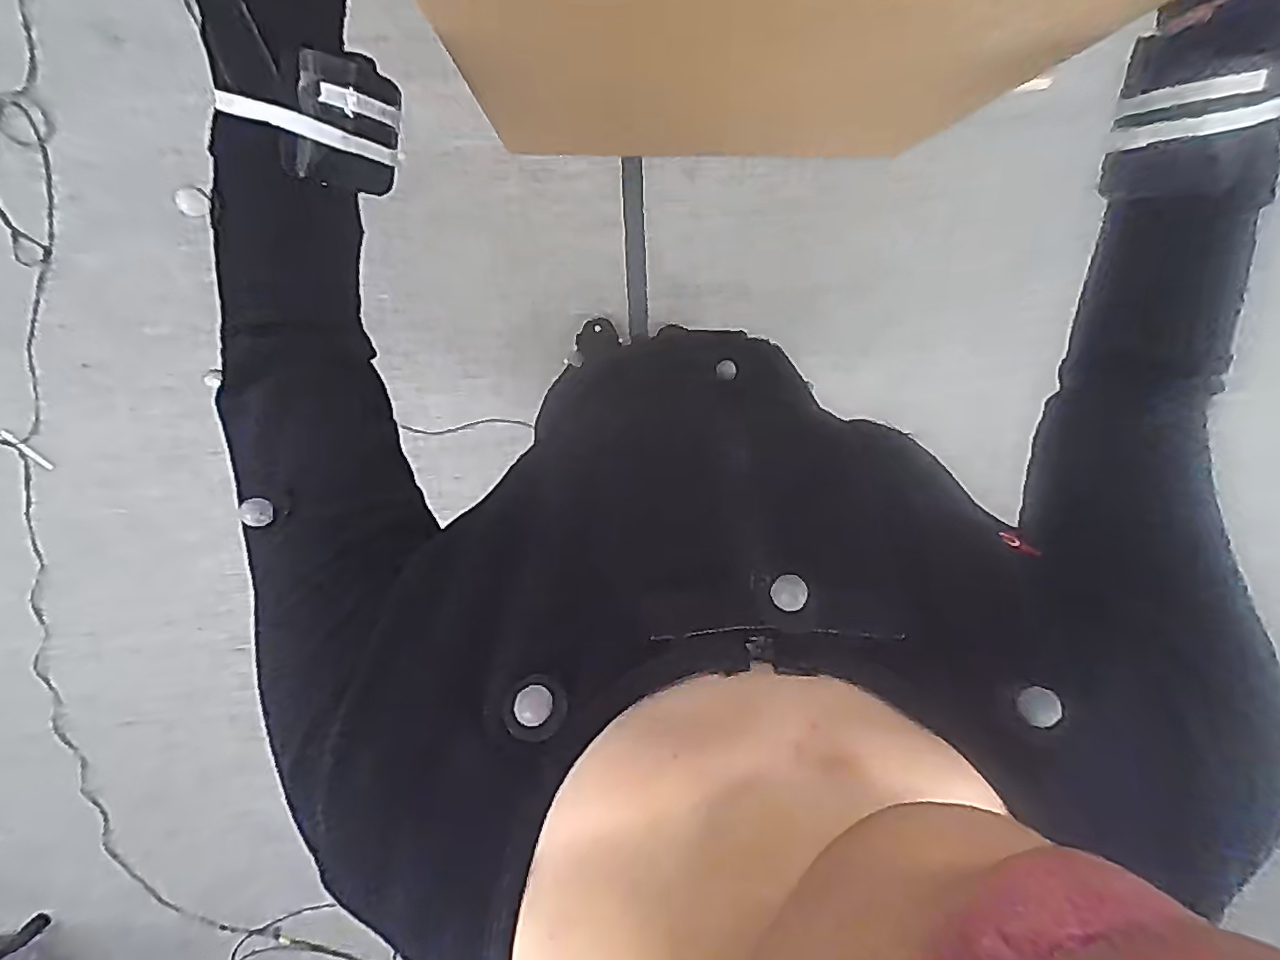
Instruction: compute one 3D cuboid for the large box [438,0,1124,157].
[{"bbox_3d":[0.072,-0.440,0.369,0.408,0.320,0.320,-3,107,-4],"label":"large box"}]
